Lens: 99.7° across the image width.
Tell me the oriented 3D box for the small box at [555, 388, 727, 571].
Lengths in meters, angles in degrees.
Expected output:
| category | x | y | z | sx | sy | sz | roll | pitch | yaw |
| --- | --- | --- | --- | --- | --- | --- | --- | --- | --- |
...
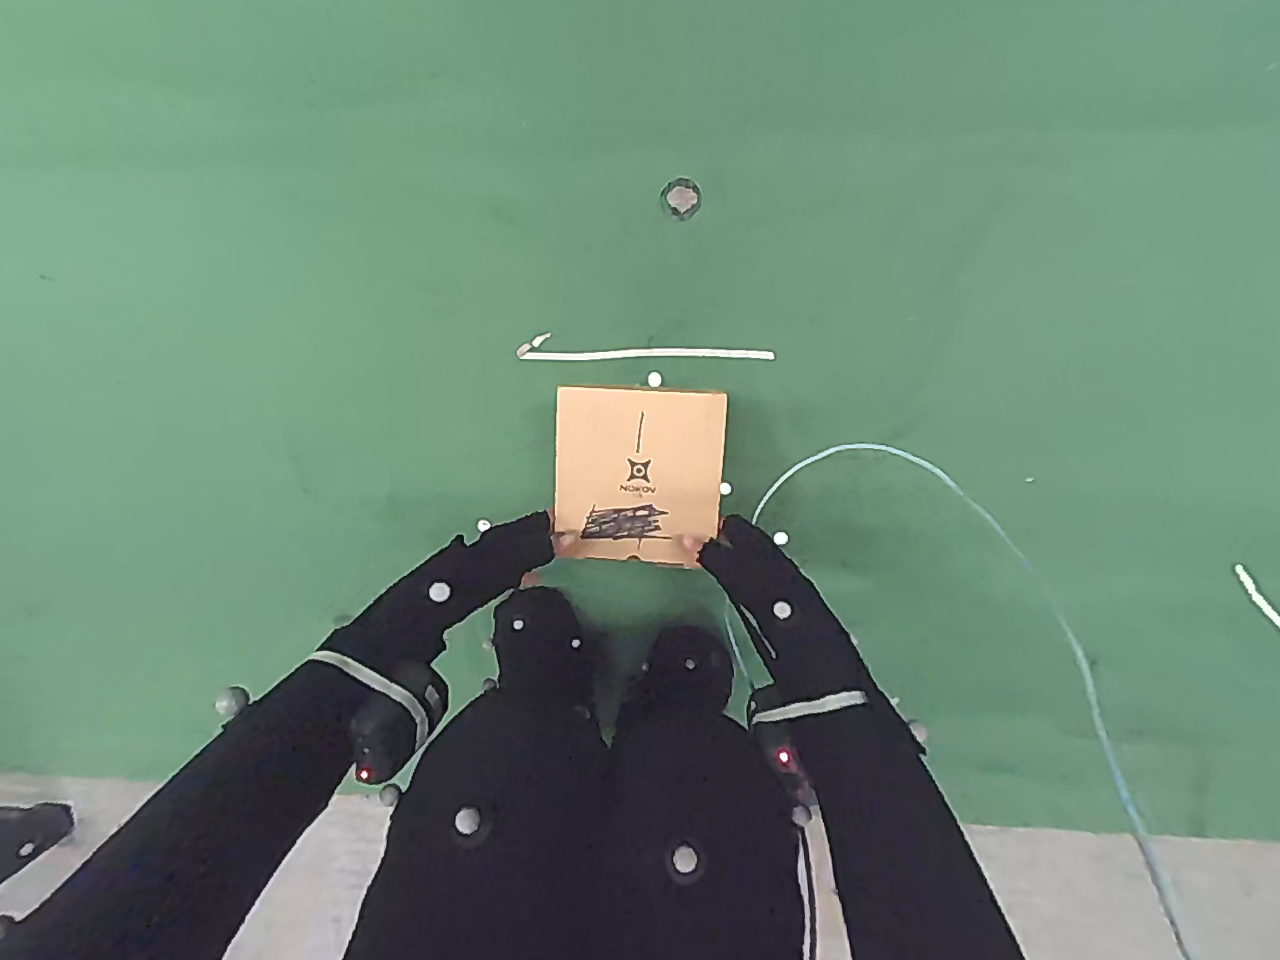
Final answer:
| category | x | y | z | sx | sy | sz | roll | pitch | yaw |
| --- | --- | --- | --- | --- | --- | --- | --- | --- | --- |
| small box | 0.005 | -0.011 | 0.616 | 0.168 | 0.176 | 0.179 | 4 | 99 | 3 |
